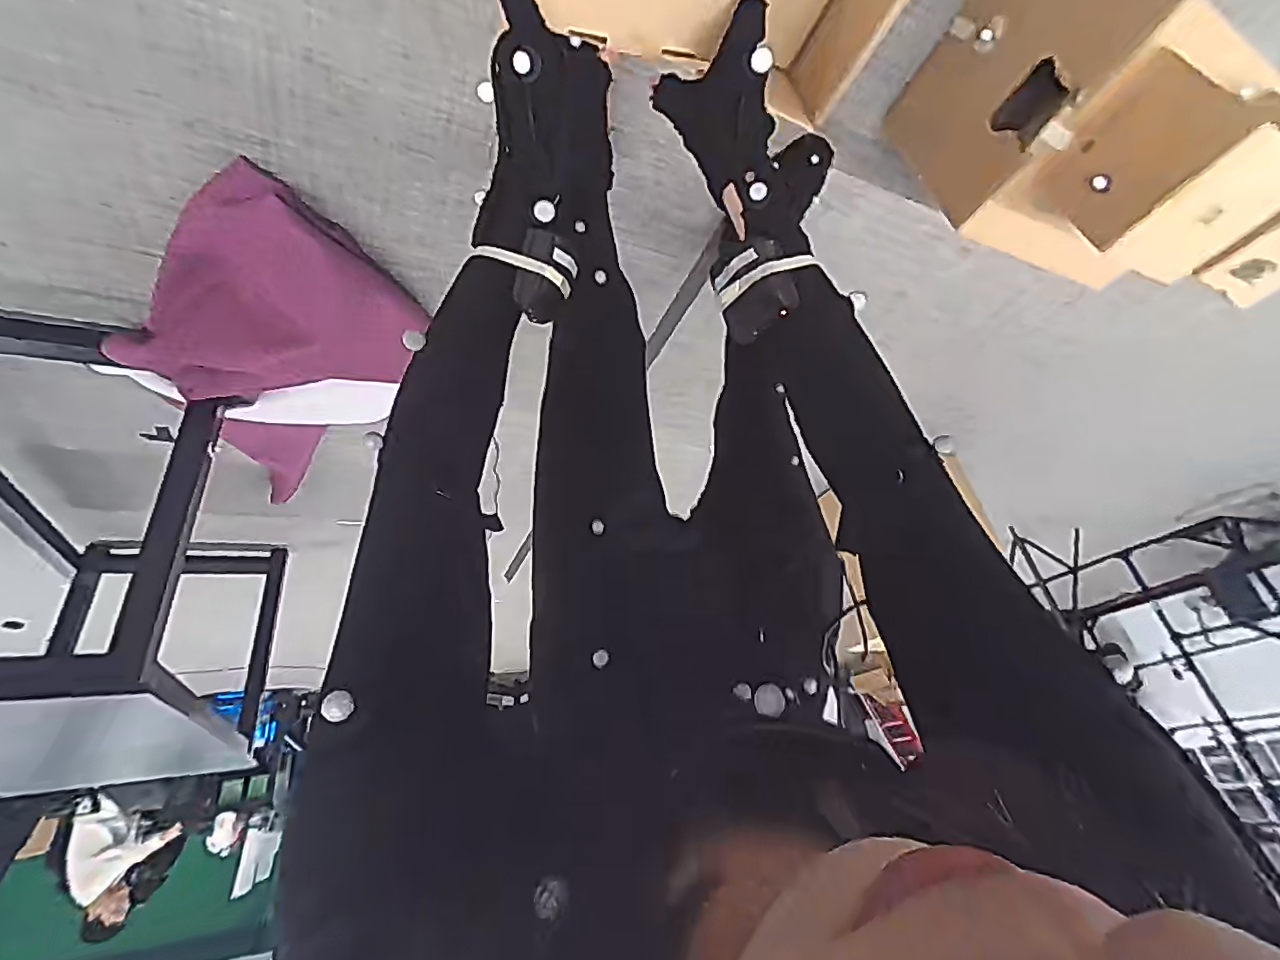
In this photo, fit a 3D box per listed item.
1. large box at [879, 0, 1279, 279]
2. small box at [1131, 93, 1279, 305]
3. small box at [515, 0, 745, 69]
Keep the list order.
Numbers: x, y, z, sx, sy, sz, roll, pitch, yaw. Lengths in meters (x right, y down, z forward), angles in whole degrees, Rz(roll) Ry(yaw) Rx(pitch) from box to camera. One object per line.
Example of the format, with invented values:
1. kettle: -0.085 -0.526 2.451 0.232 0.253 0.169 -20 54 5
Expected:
1. large box: 0.686 -0.582 0.867 0.408 0.320 0.320 4 148 -25
2. small box: 0.853 -0.388 0.763 0.168 0.176 0.179 8 145 -28
3. small box: -0.010 -0.444 0.402 0.168 0.176 0.179 -4 138 -19
